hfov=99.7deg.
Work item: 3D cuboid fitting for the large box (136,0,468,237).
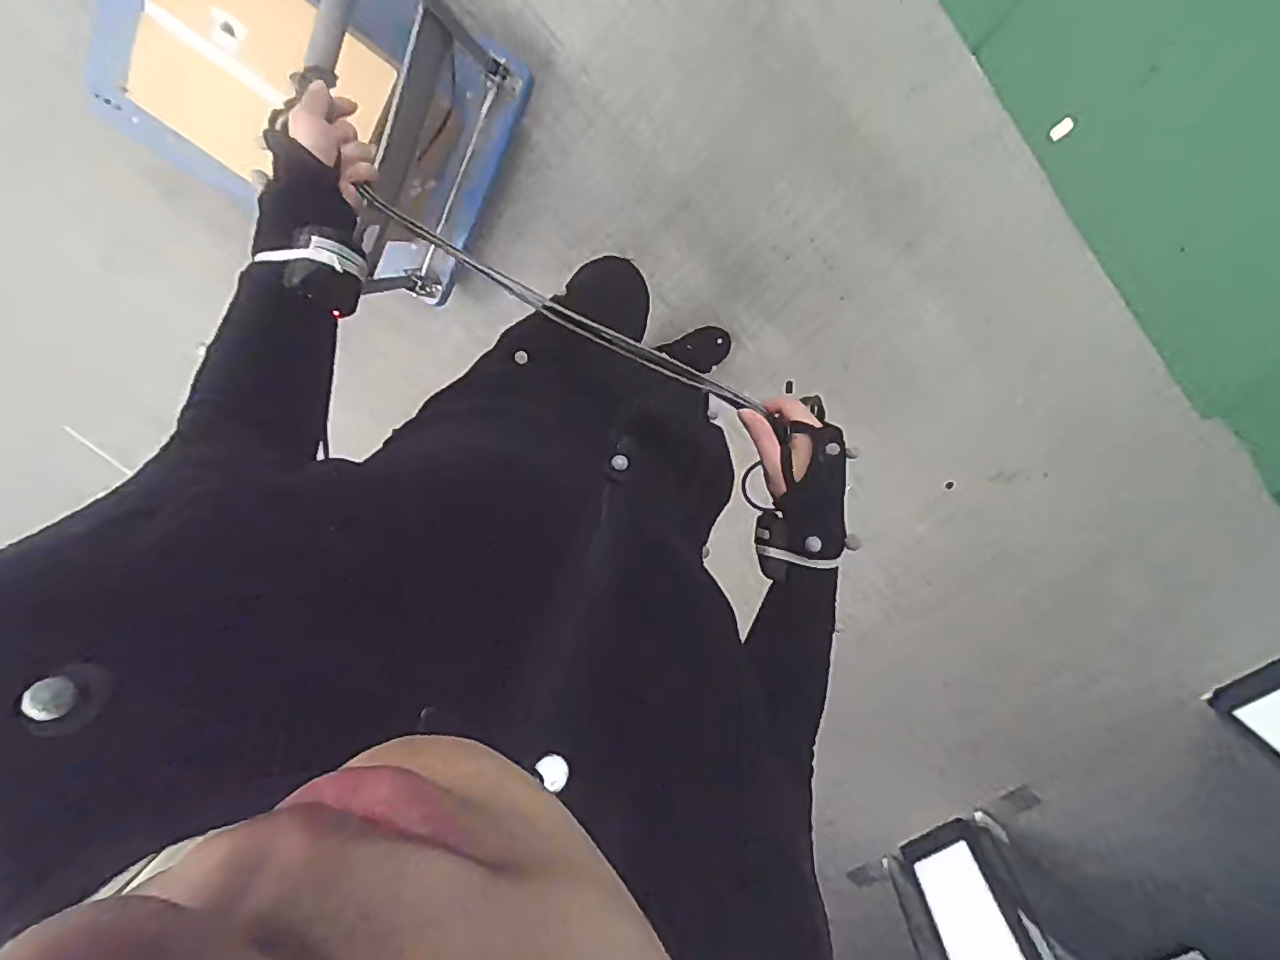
[{"bbox_3d":[-0.622,-0.729,1.057,0.408,0.320,0.320,34,111,-9],"label":"large box"}]
